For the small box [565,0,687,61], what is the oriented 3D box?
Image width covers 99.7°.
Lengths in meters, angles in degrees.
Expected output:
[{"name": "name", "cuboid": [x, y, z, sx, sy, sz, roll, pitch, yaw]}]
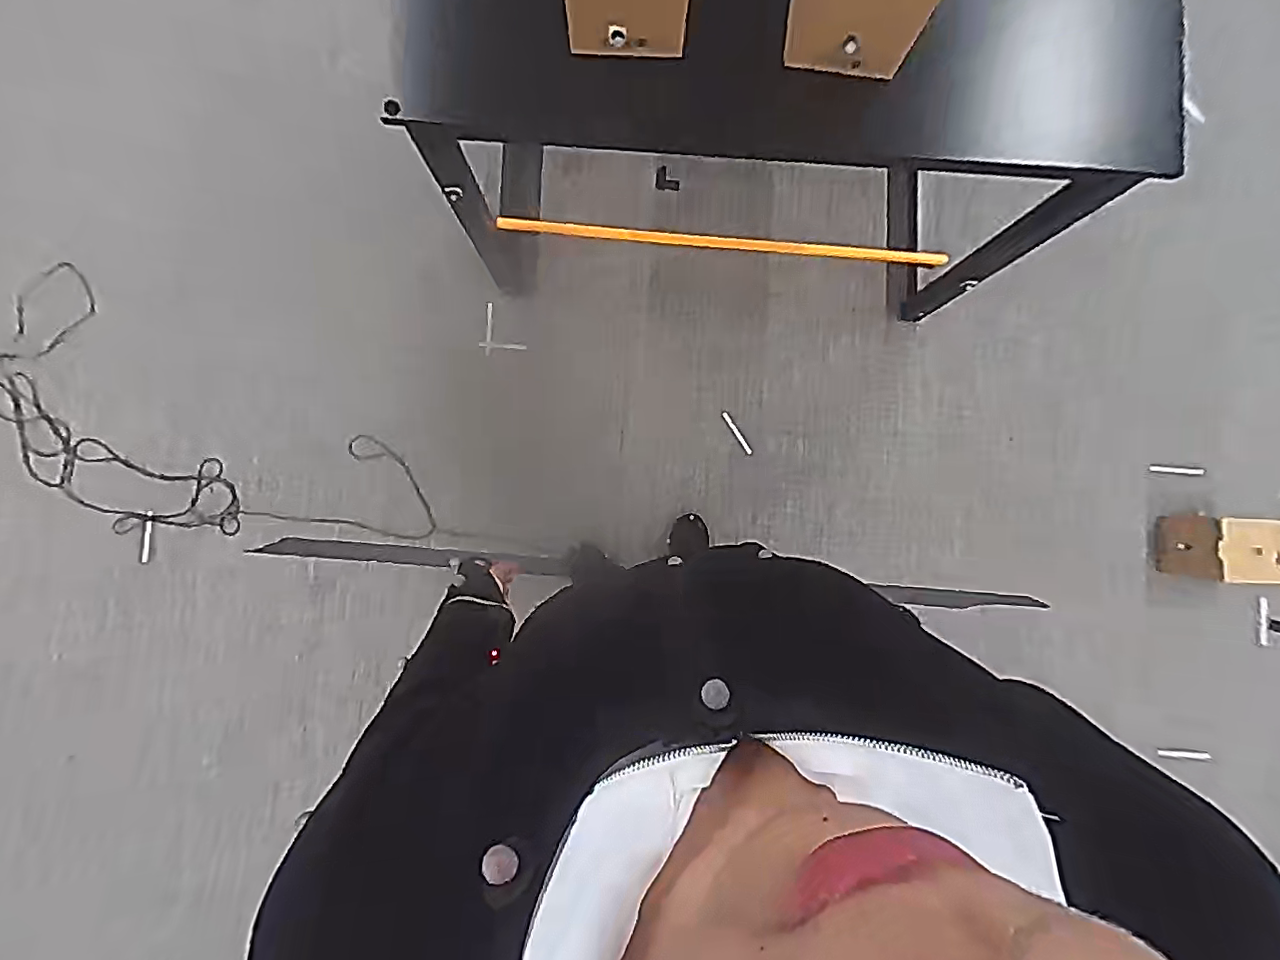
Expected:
[{"name": "small box", "cuboid": [-0.020, -0.718, 0.729, 0.168, 0.176, 0.179, -1, 88, -1]}]

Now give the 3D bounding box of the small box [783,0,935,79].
[{"name": "small box", "cuboid": [0.304, -0.703, 0.737, 0.168, 0.176, 0.179, 7, 87, -1]}]

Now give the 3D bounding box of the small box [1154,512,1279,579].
[{"name": "small box", "cuboid": [1.558, 0.175, 1.471, 0.179, 0.176, 0.168, 2, 87, -1]}]
